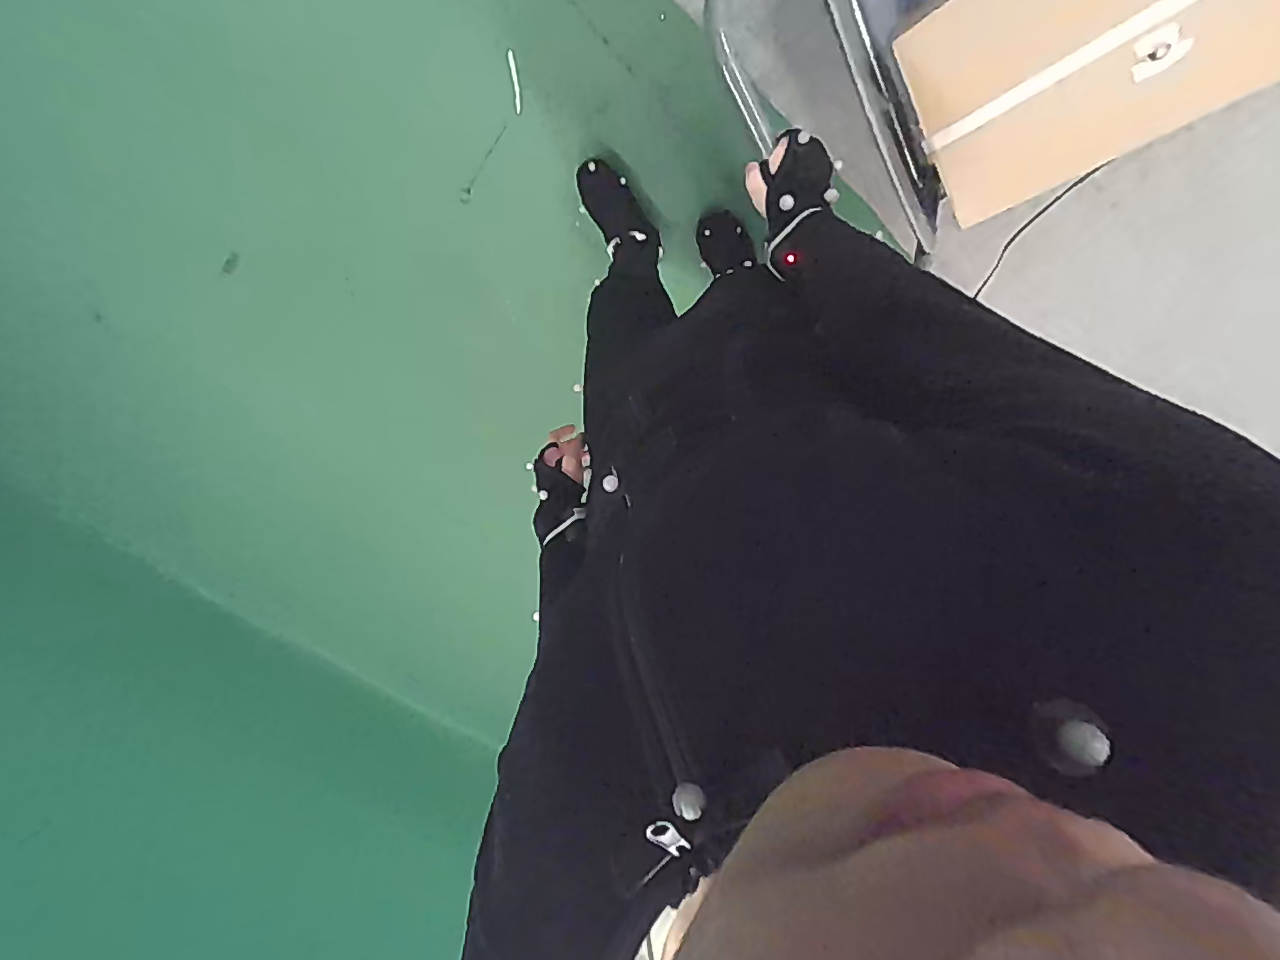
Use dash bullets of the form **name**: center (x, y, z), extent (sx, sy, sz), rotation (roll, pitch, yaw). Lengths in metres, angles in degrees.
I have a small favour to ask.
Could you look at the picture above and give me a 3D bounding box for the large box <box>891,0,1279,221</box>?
- **large box**: center (0.650, -0.687, 0.830), extent (0.408, 0.320, 0.320), rotation (-18, 122, 38)
